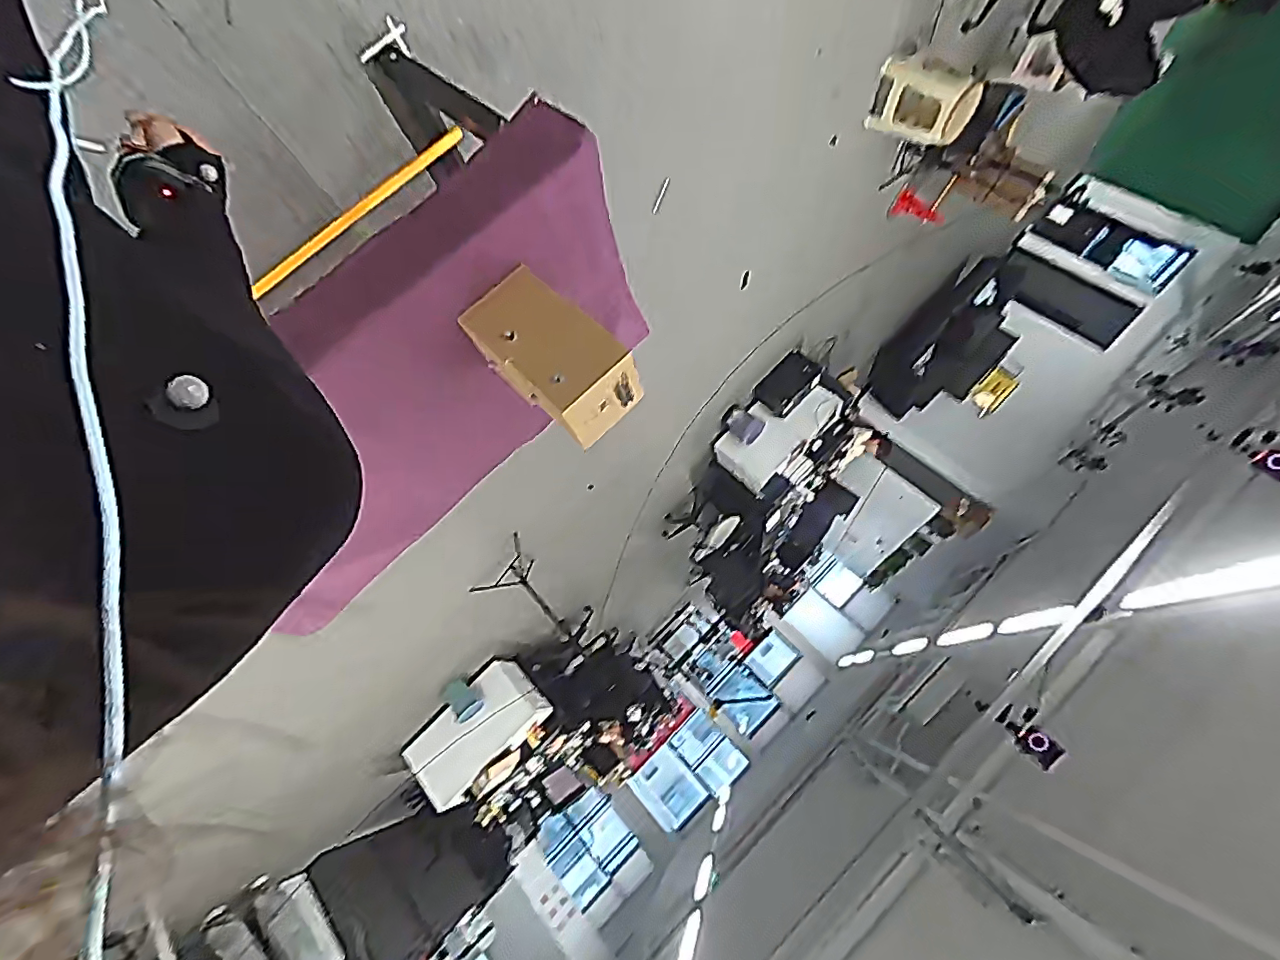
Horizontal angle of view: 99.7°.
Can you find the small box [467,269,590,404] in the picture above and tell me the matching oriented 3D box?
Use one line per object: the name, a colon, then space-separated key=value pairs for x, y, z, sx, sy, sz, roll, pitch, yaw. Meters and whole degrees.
small box: x=-0.239 y=-0.303 z=1.144 sx=0.179 sy=0.176 sz=0.168 roll=-43 pitch=158 yaw=-9
